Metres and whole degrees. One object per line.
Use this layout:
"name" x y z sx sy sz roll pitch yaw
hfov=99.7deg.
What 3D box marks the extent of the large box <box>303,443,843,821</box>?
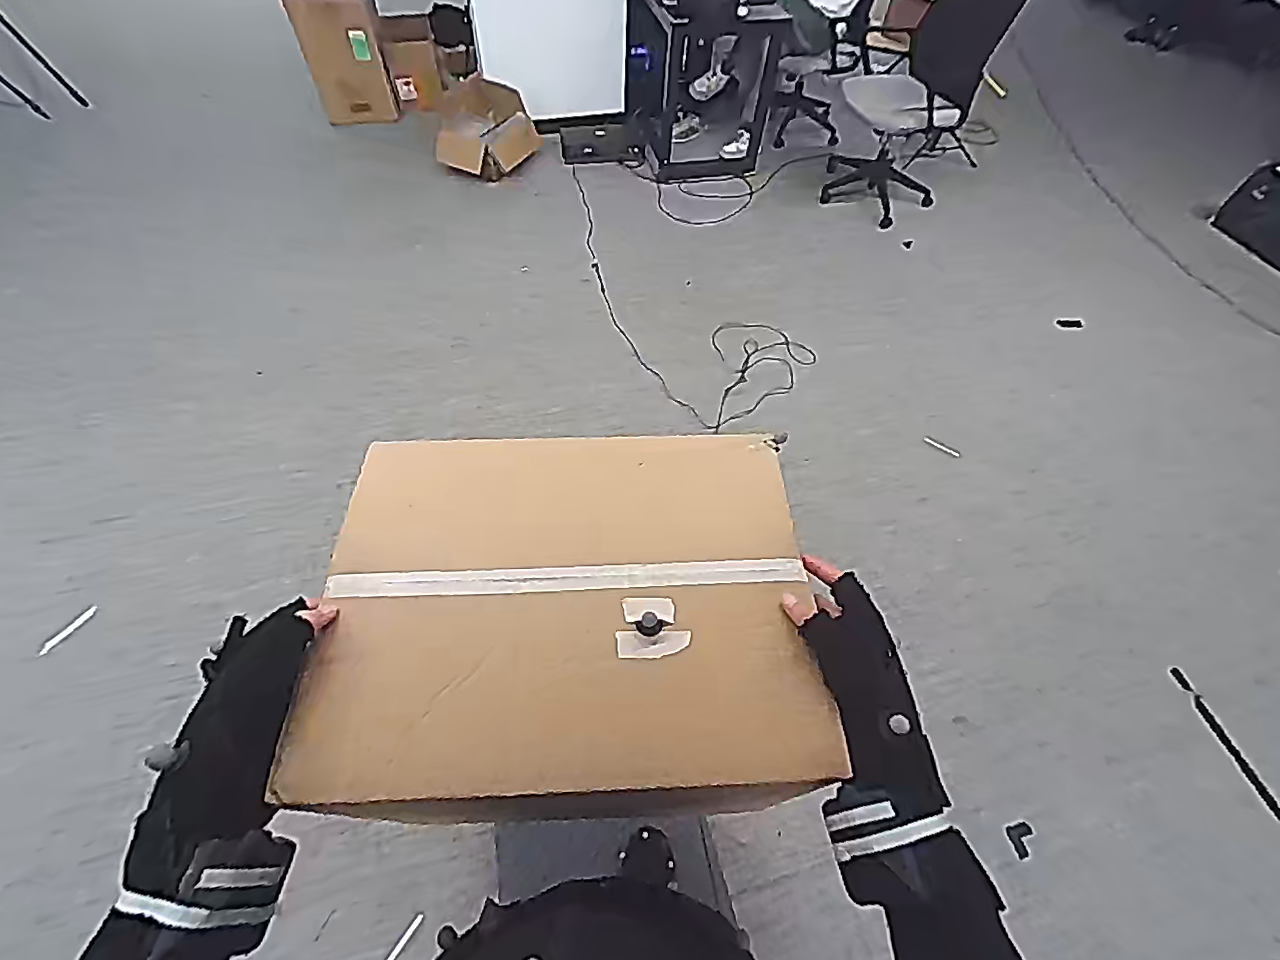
"large box" -0.056 0.176 0.599 0.408 0.320 0.320 -1 55 -2
